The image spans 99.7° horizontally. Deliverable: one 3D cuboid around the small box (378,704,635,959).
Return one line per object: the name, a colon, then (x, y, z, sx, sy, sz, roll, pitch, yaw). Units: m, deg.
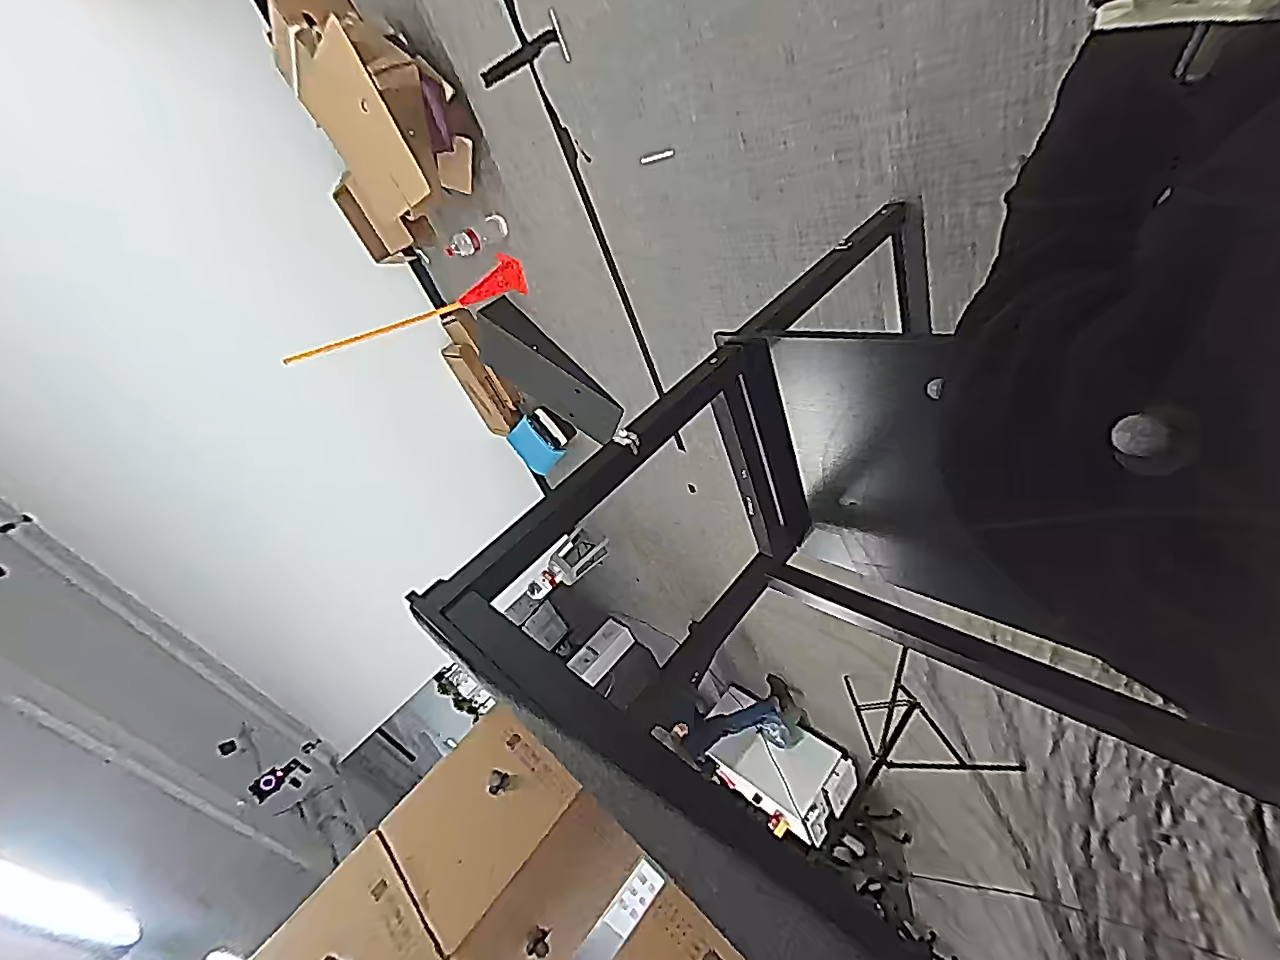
small box: (-0.132, 0.384, 0.580, 0.168, 0.176, 0.179, 18, 143, 44)

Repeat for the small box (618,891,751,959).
small box: (0.051, 0.444, 0.383, 0.168, 0.176, 0.179, 19, 145, 46)

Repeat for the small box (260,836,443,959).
small box: (-0.240, 0.487, 0.512, 0.168, 0.176, 0.179, 20, 144, 44)
